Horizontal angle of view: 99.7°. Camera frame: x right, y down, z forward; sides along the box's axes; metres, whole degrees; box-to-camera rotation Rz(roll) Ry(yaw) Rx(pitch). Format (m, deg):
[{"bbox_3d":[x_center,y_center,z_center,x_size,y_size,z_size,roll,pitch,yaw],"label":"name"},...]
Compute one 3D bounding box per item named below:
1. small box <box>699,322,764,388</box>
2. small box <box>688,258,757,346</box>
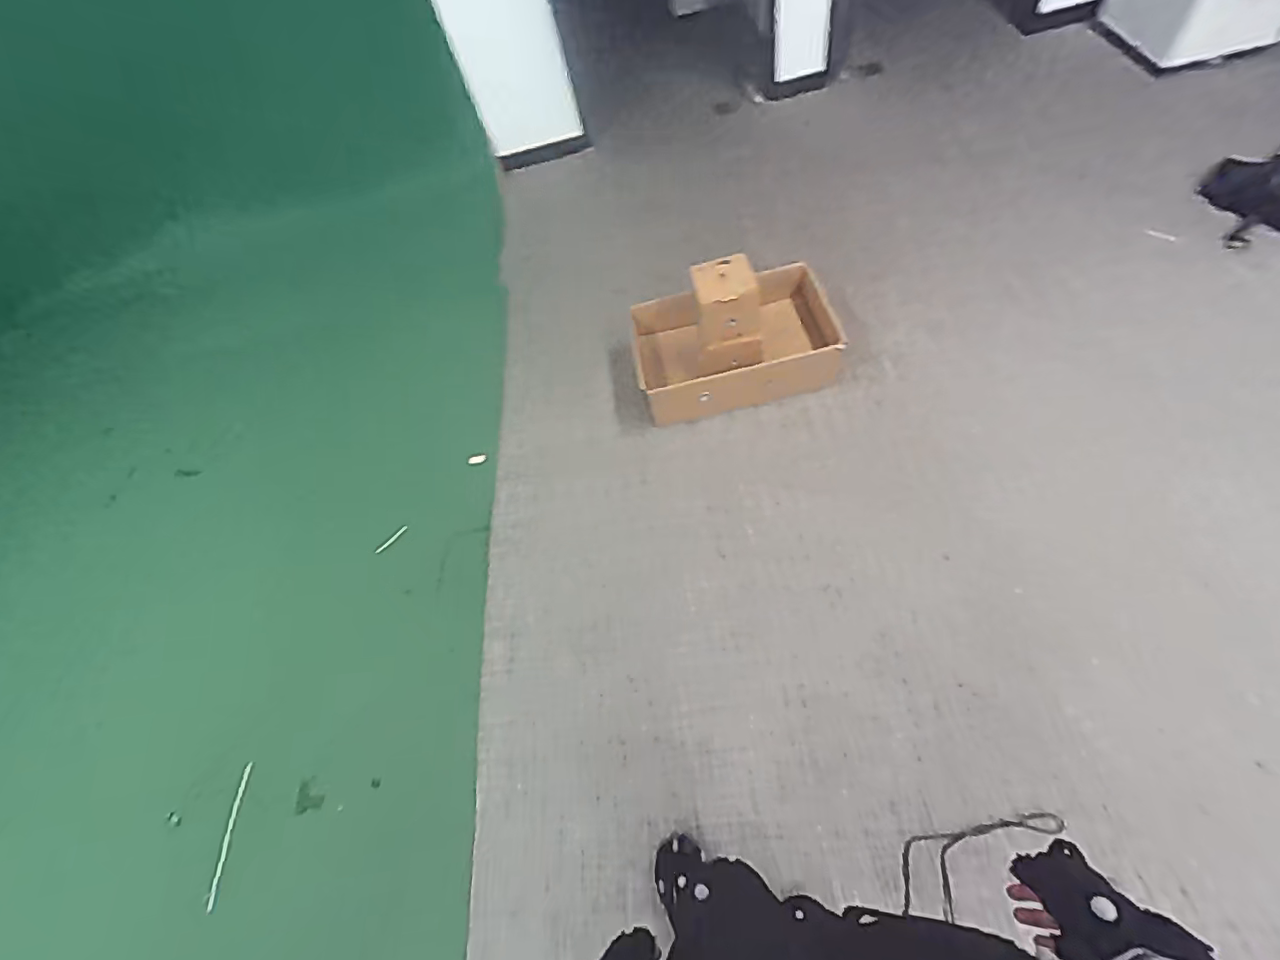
[{"bbox_3d":[0.289,-0.420,1.729,0.179,0.176,0.168,-13,56,4],"label":"small box"},{"bbox_3d":[0.247,-0.519,1.606,0.168,0.176,0.179,-13,57,5],"label":"small box"}]
